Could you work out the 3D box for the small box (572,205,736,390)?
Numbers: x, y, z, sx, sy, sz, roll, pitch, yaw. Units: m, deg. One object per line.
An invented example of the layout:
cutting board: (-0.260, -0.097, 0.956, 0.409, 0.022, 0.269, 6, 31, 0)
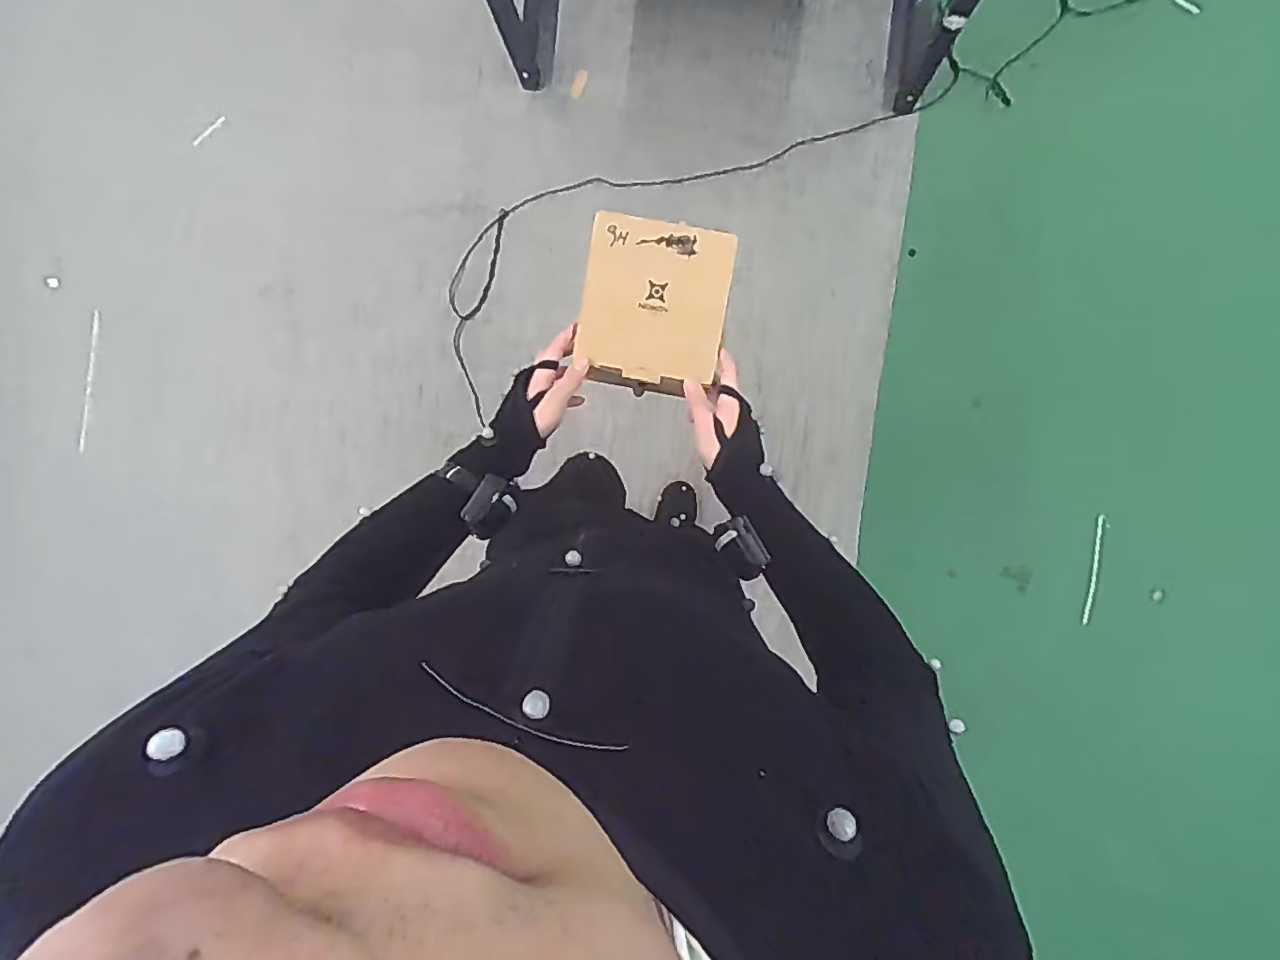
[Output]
small box: (0.015, -0.217, 0.692, 0.168, 0.176, 0.179, 9, 94, -1)
